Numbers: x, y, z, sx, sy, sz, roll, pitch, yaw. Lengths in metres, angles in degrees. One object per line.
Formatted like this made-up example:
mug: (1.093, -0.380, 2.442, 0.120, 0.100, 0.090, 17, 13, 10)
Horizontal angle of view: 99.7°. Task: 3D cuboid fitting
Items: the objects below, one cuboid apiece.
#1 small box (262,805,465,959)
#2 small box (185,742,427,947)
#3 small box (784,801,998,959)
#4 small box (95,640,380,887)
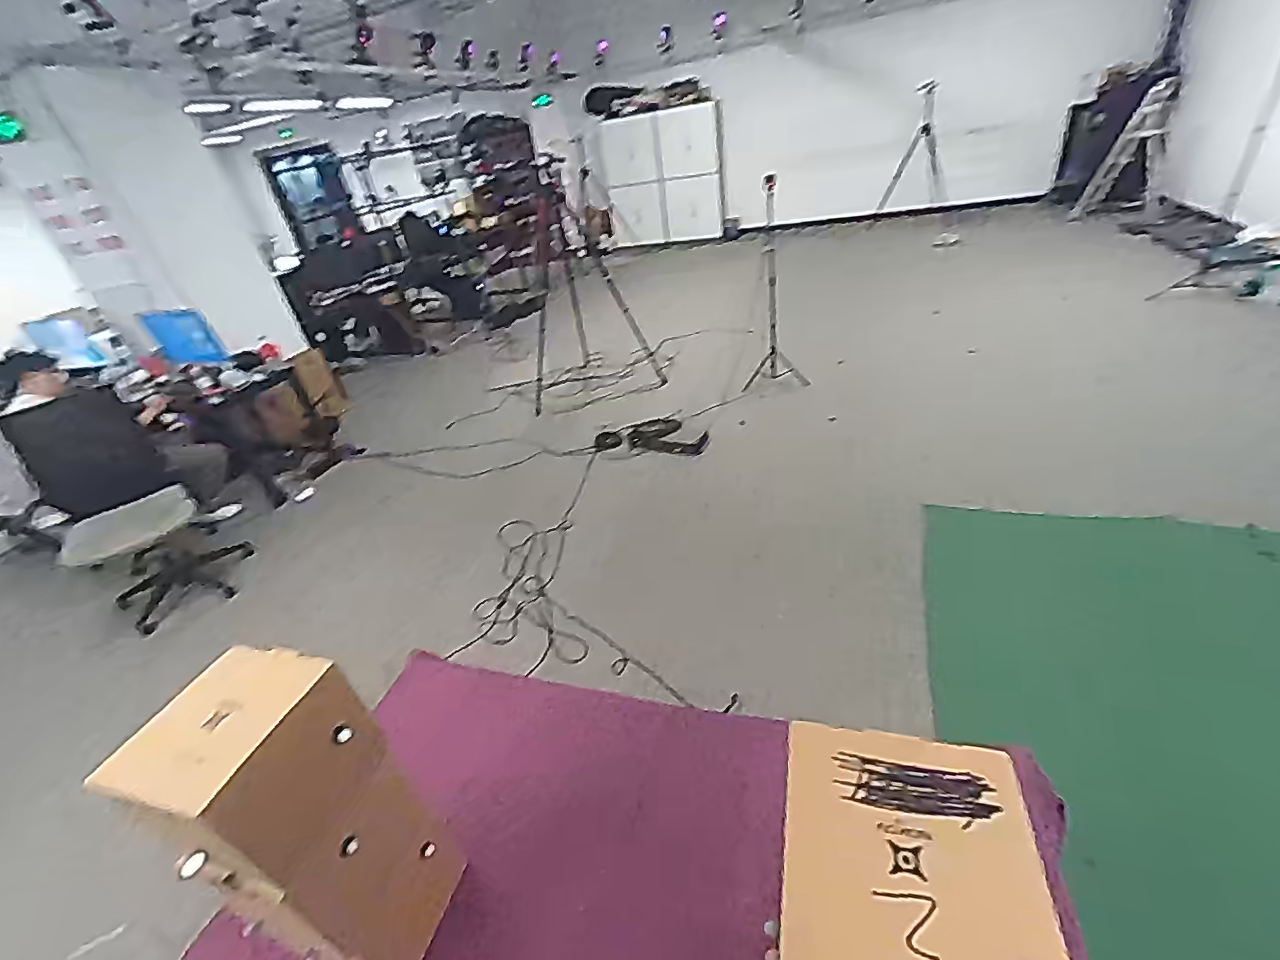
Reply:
small box: (-0.385, 0.592, 0.791, 0.168, 0.176, 0.179, 1, 34, 18)
small box: (-0.411, 0.456, 0.702, 0.168, 0.176, 0.179, 2, 33, 19)
small box: (0.229, 0.452, 0.510, 0.168, 0.176, 0.179, 3, 34, 21)
small box: (-0.432, 0.316, 0.621, 0.168, 0.176, 0.179, 2, 34, 20)
